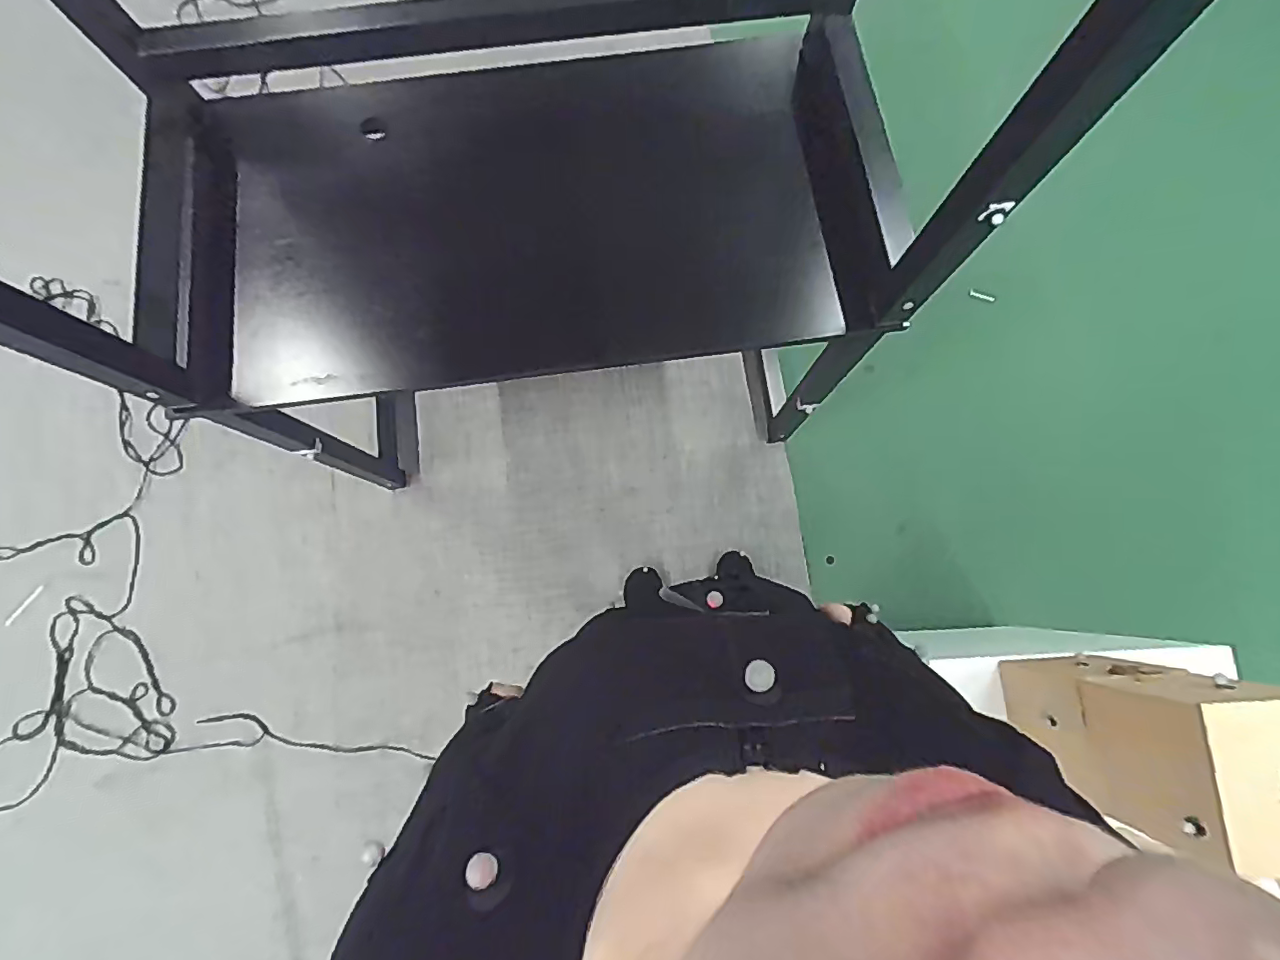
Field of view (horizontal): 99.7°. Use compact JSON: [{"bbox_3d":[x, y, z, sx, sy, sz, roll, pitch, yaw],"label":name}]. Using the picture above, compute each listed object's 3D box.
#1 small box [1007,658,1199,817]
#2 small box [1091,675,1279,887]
[{"bbox_3d":[0.678,0.360,0.791,0.168,0.176,0.179,-4,79,0],"label":"small box"},{"bbox_3d":[0.677,0.330,0.630,0.168,0.176,0.179,-3,80,0],"label":"small box"}]
